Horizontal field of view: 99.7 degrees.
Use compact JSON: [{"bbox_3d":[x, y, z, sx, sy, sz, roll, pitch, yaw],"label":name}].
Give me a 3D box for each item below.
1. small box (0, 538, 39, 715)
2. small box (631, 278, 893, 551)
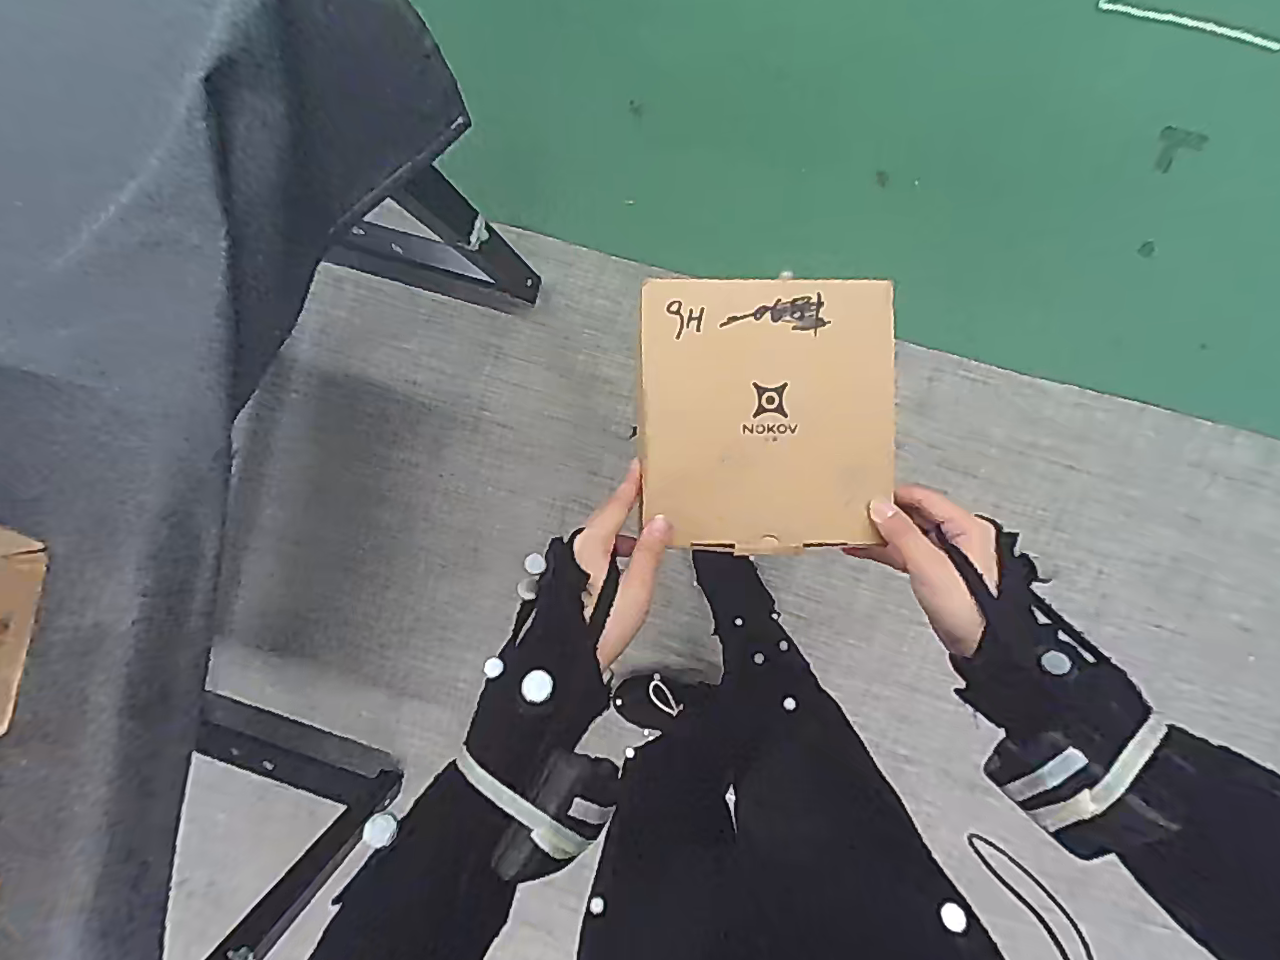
[{"bbox_3d":[-0.582,0.109,0.356,0.179,0.176,0.168,18,95,4],"label":"small box"},{"bbox_3d":[0.078,-0.044,0.427,0.168,0.176,0.179,0,91,-2],"label":"small box"}]
